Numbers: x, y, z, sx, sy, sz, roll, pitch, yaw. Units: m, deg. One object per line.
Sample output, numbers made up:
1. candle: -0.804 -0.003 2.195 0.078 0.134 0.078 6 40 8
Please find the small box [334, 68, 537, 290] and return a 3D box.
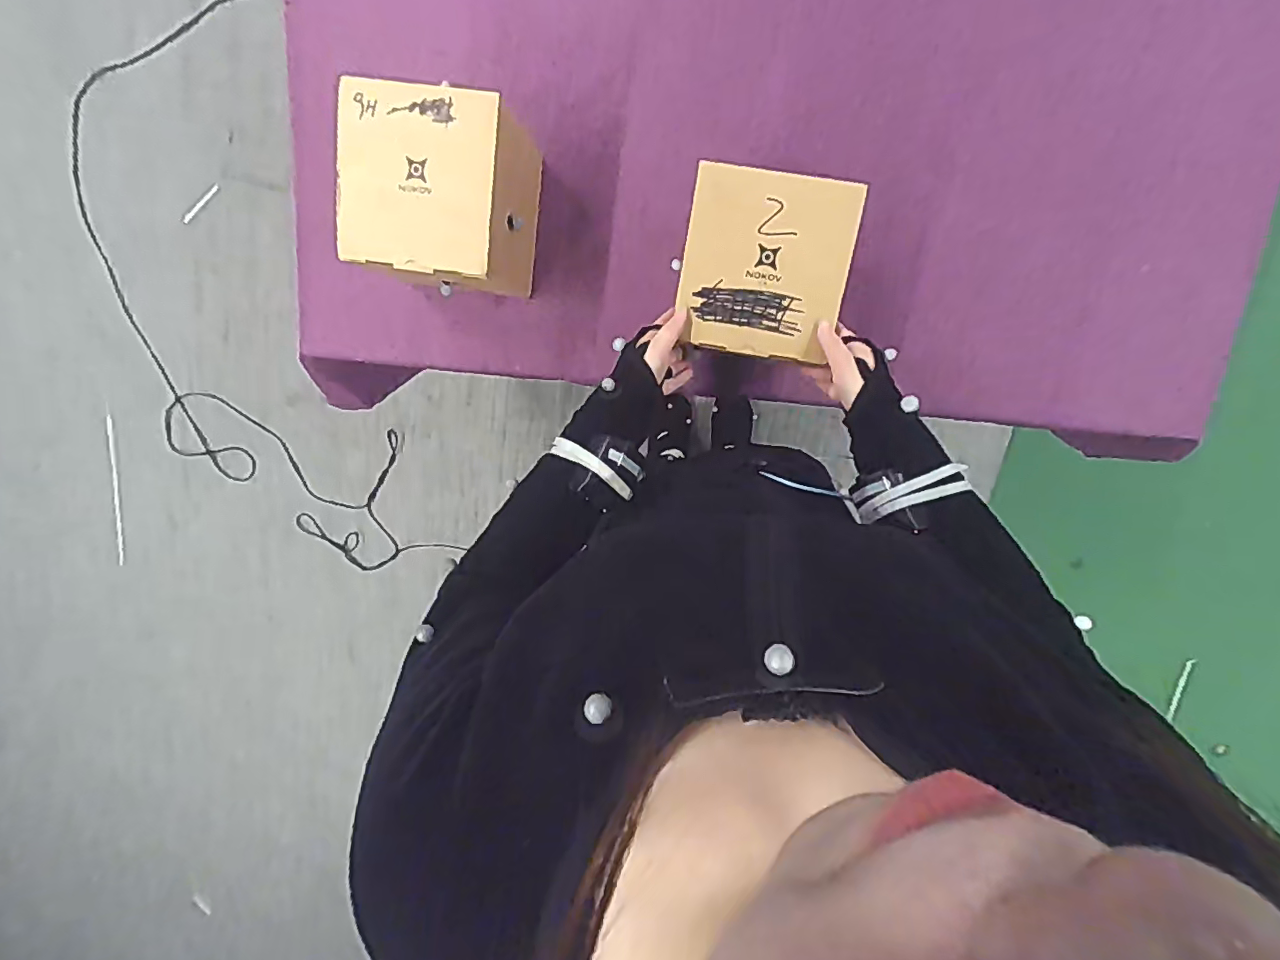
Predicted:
1. small box: -0.223 -0.326 0.625 0.168 0.176 0.179 9 103 1
